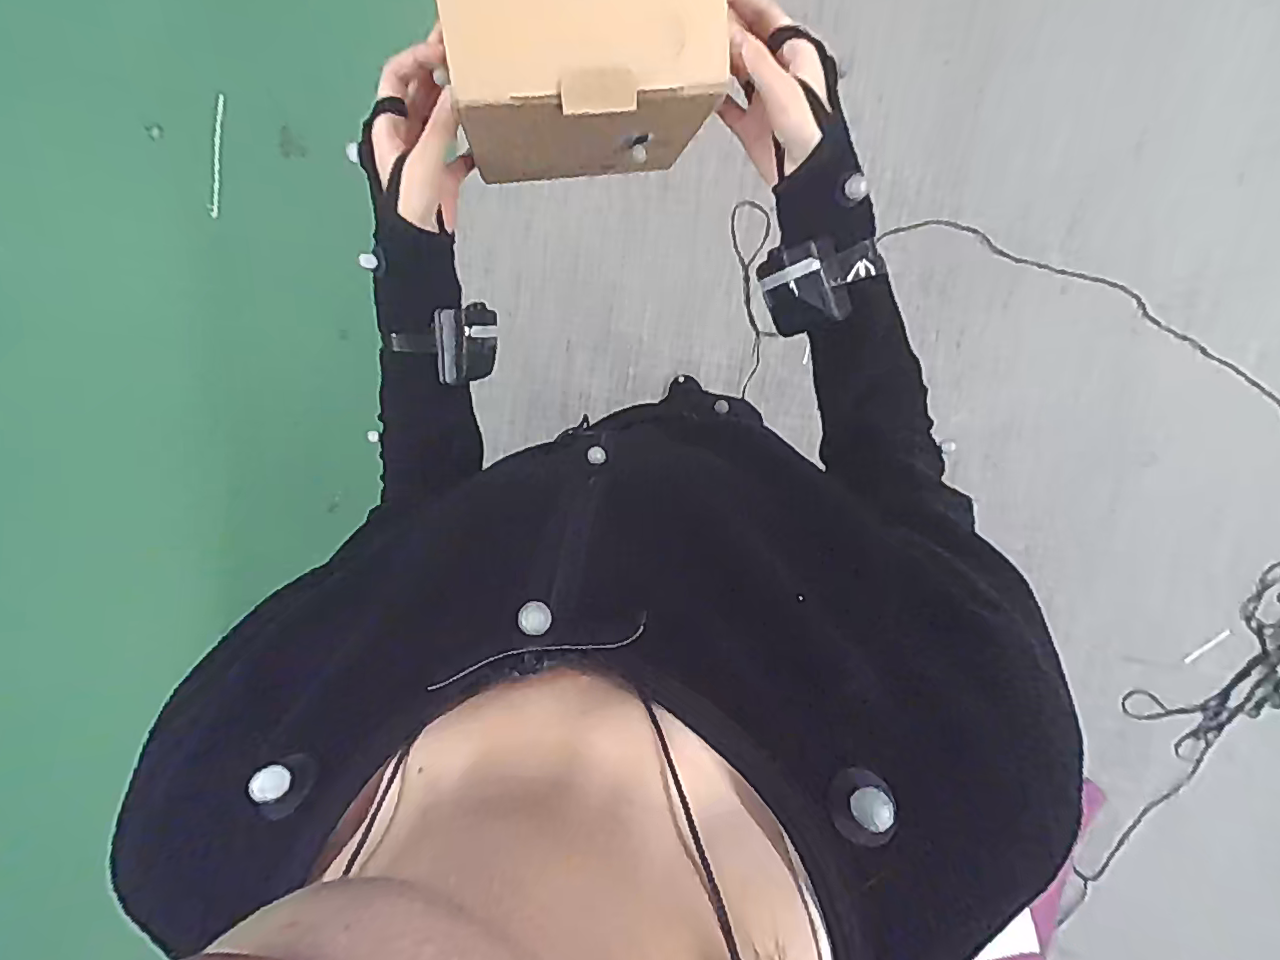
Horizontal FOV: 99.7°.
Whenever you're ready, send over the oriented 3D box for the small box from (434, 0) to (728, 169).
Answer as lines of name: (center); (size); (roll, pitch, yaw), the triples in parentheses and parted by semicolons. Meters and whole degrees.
small box: (-0.048, -0.327, 0.365); (0.168, 0.176, 0.179); (-9, 105, -8)
